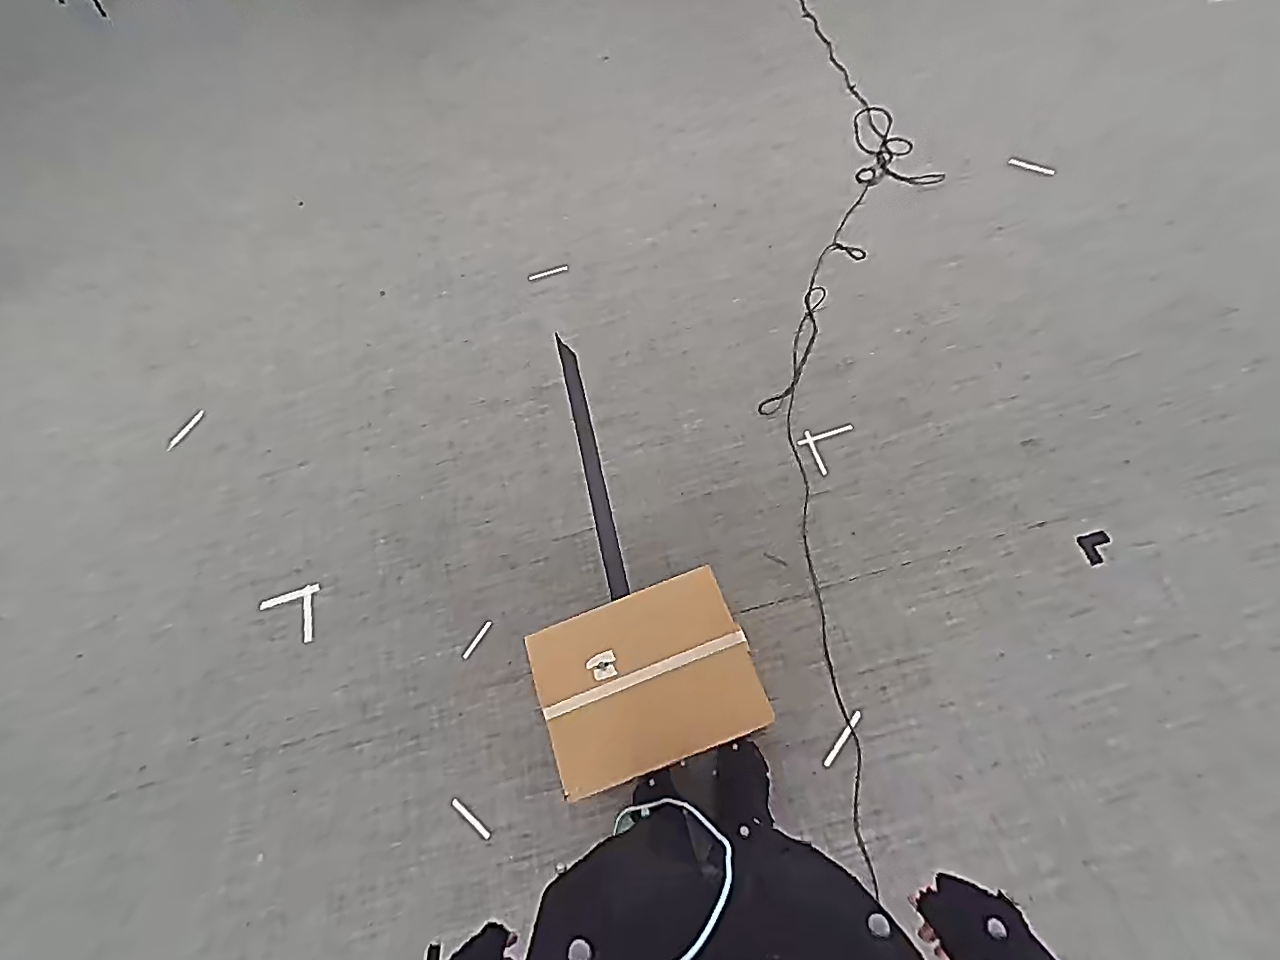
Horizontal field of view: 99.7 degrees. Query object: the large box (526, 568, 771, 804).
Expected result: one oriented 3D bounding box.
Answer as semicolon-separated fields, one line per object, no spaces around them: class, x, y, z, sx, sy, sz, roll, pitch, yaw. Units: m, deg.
large box;0.028;0.433;1.160;0.408;0.320;0.320;-22;64;1
